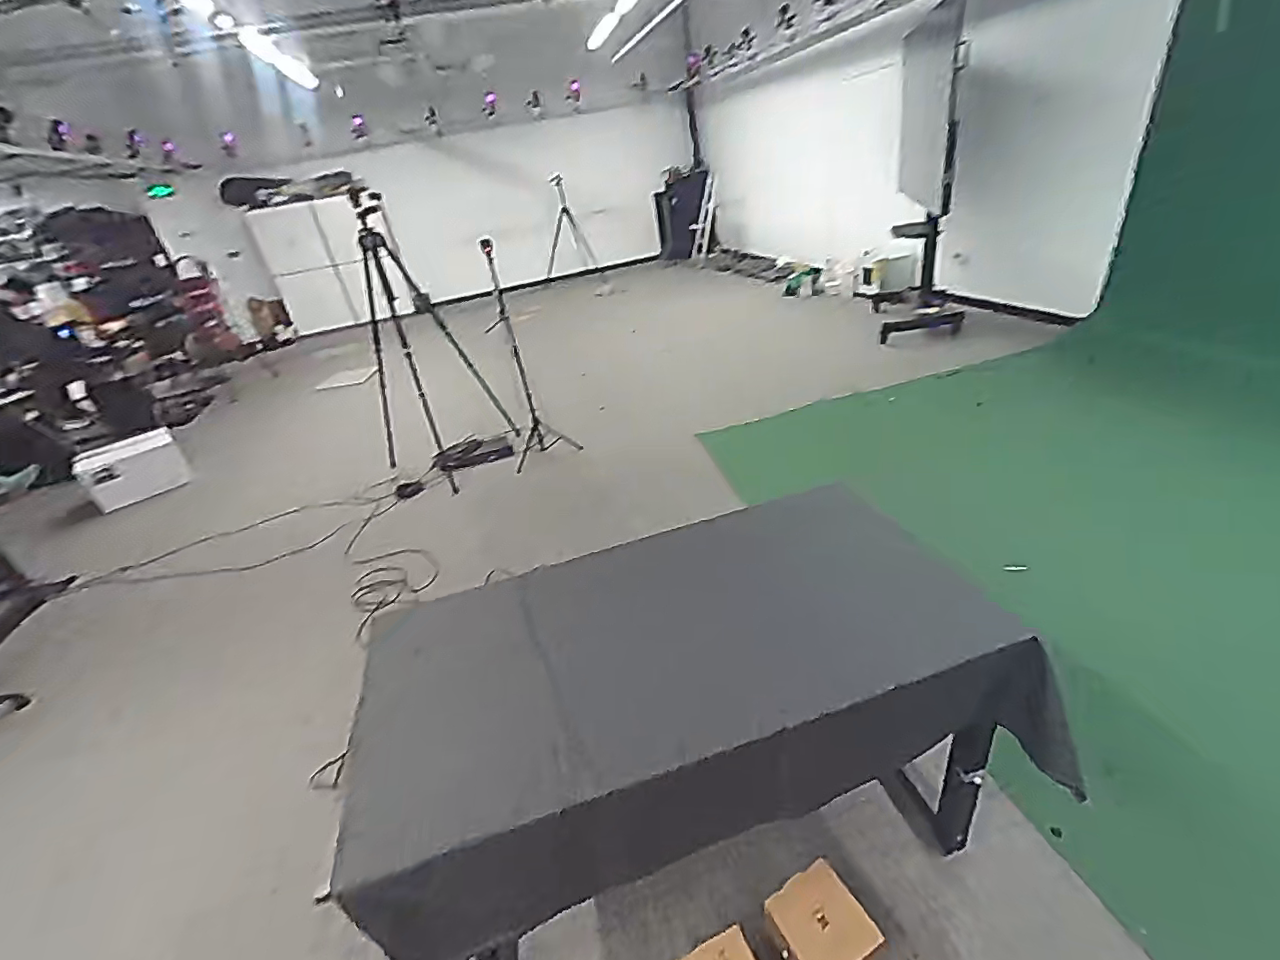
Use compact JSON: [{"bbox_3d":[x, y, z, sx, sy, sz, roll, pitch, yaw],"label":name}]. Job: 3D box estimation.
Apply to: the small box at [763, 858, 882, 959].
[{"bbox_3d":[0.378,0.965,1.141,0.168,0.176,0.179,-22,31,-19],"label":"small box"}]
